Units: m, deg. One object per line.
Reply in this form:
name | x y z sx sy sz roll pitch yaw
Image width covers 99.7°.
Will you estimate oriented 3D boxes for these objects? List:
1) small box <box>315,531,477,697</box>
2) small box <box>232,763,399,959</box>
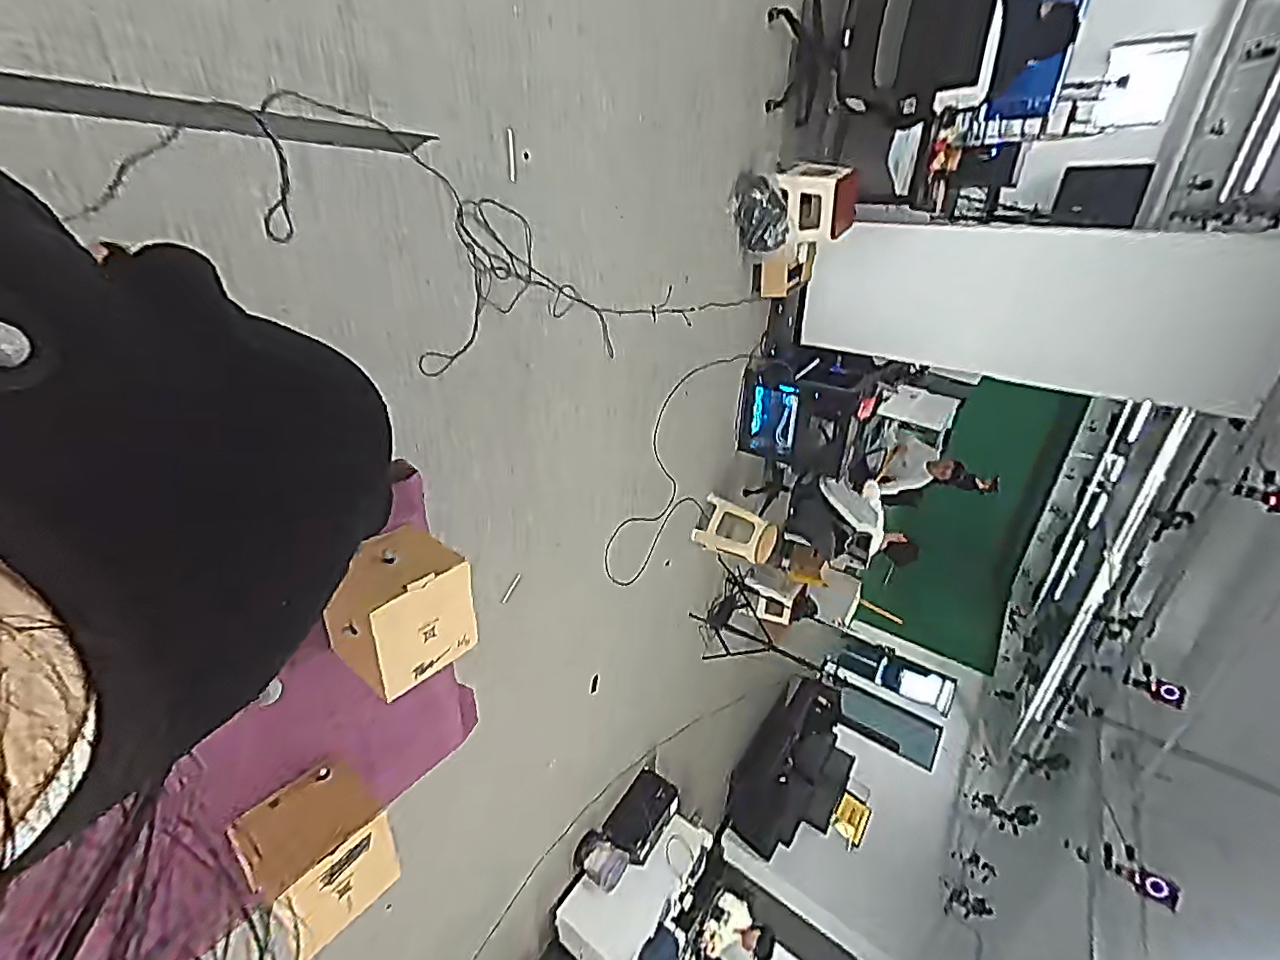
small box | -0.387 0.198 0.864 0.168 0.176 0.179 -28 129 -47
small box | -0.523 0.599 0.878 0.168 0.176 0.179 -27 128 -48
